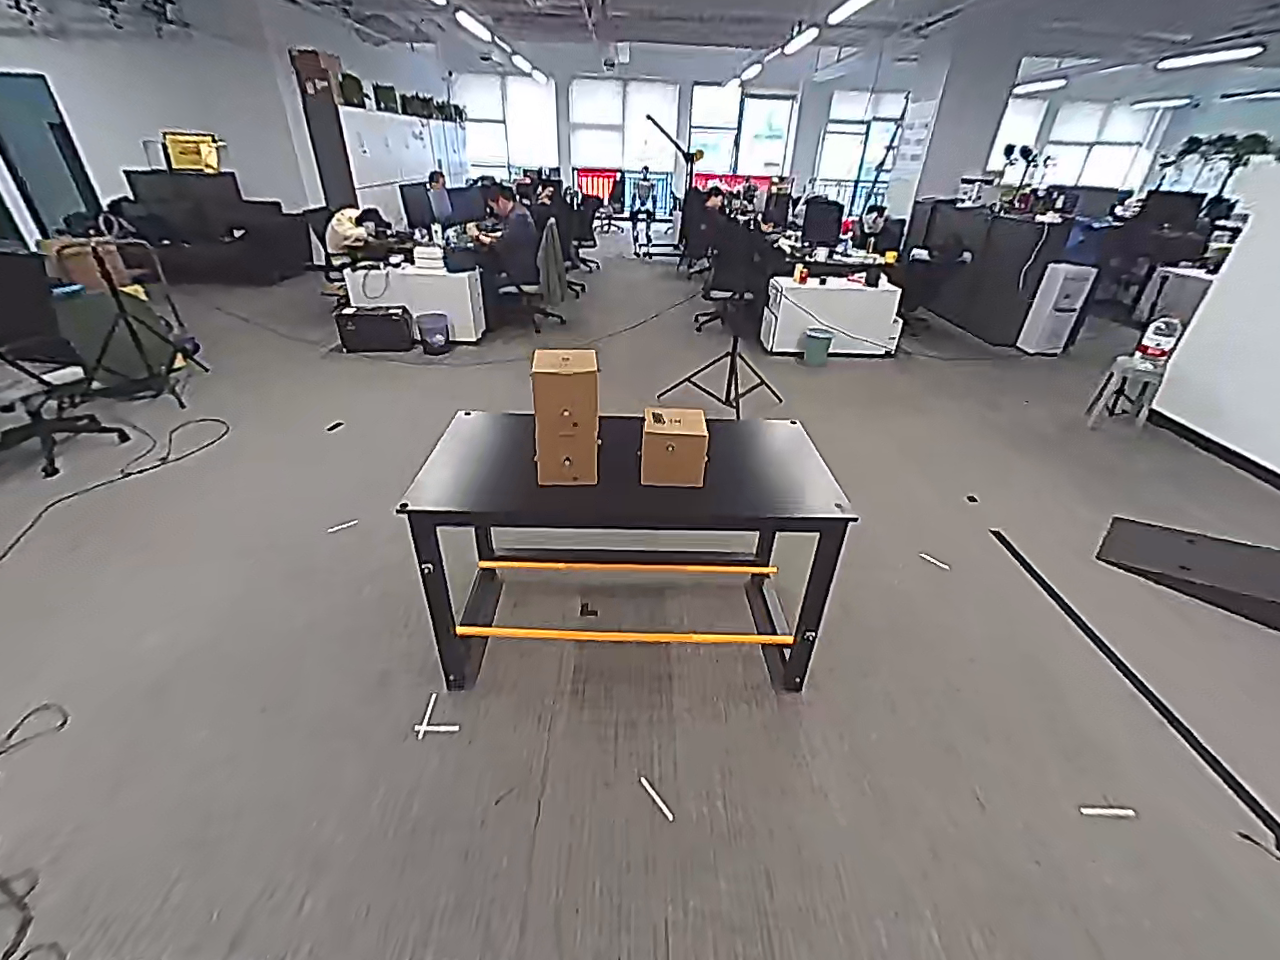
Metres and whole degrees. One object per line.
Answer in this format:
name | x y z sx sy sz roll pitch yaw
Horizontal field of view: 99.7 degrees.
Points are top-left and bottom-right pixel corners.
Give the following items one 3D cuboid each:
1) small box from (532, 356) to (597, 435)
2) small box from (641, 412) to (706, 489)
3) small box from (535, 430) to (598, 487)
small box | -0.202 -0.232 1.475 0.168 0.176 0.179 -2 31 -6
small box | 0.093 -0.086 1.566 0.179 0.176 0.168 2 31 -1
small box | -0.206 -0.088 1.557 0.168 0.176 0.179 -2 31 -5
